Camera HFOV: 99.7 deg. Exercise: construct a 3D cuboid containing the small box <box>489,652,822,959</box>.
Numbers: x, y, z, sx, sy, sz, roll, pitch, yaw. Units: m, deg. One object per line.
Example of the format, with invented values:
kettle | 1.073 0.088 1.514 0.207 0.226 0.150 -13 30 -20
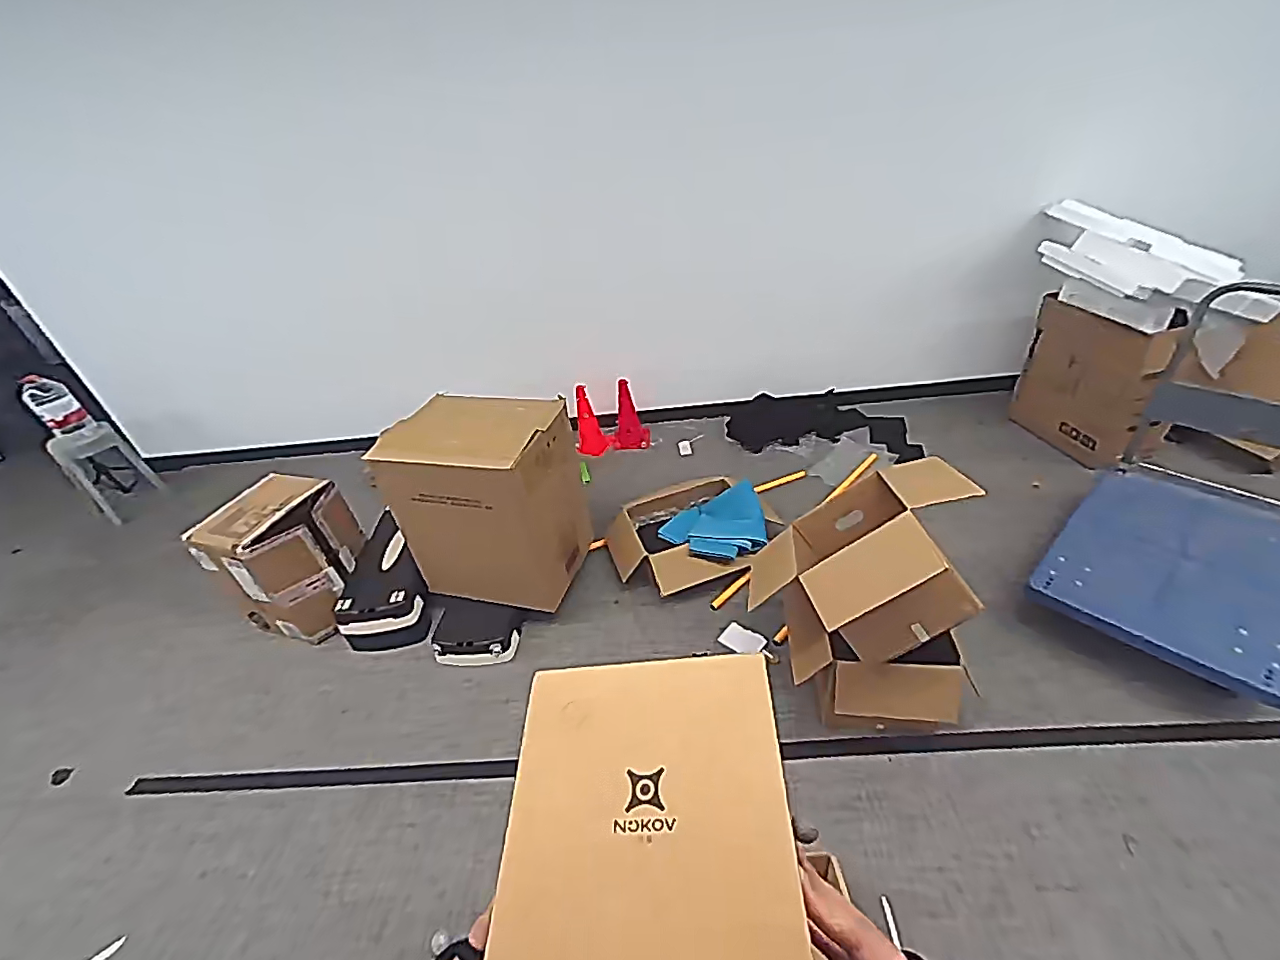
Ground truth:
small box | 0.021 0.243 0.368 0.168 0.176 0.179 -8 42 8
